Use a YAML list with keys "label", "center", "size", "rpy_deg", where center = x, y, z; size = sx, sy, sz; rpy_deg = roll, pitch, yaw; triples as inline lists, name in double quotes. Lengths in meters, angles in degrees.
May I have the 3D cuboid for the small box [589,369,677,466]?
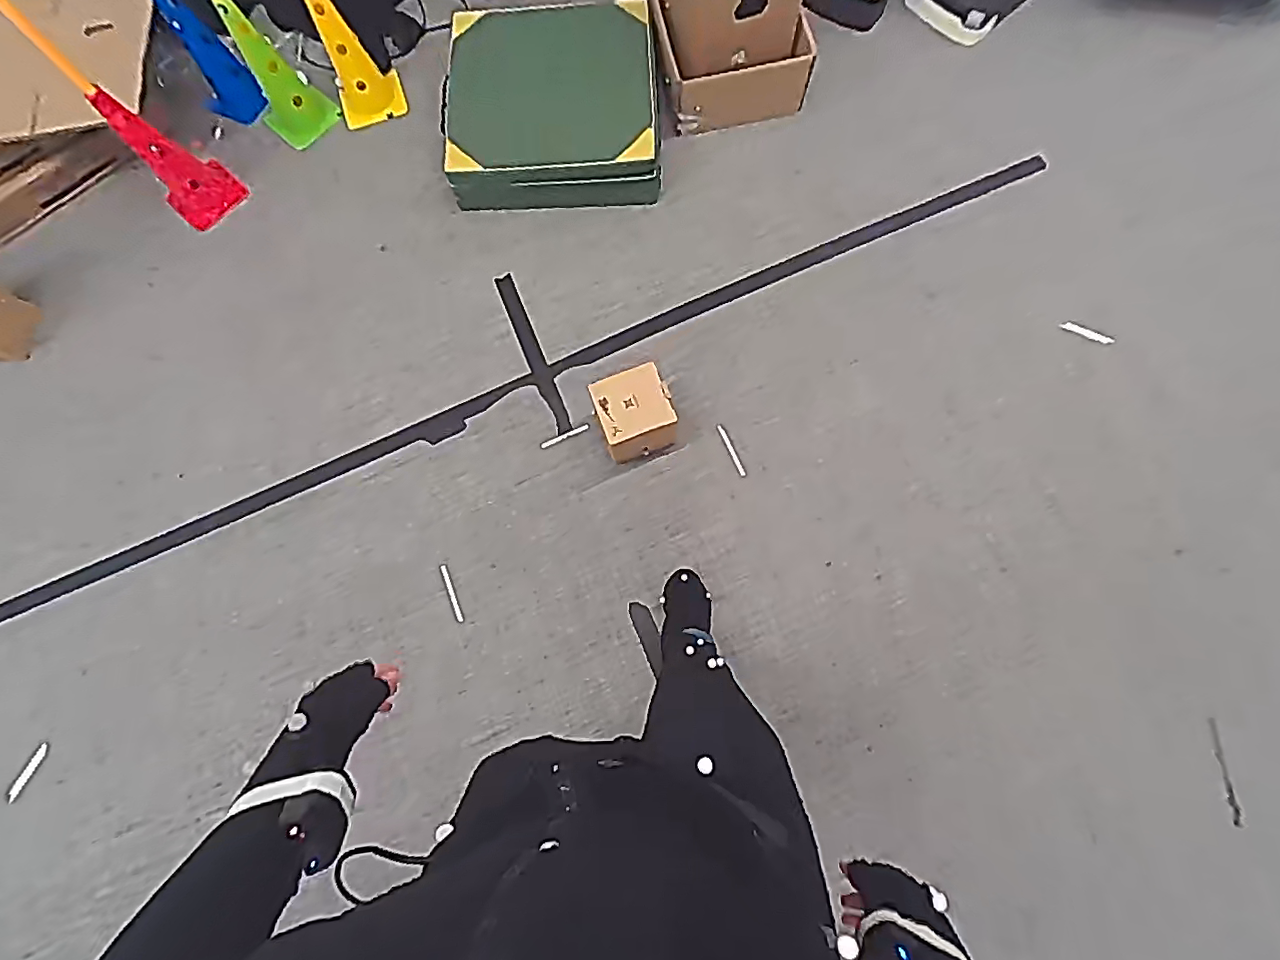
- label: "small box"
  center: [-0.017, -0.153, 1.376]
  size: [0.179, 0.176, 0.168]
  rpy_deg: [-19, 75, -4]
